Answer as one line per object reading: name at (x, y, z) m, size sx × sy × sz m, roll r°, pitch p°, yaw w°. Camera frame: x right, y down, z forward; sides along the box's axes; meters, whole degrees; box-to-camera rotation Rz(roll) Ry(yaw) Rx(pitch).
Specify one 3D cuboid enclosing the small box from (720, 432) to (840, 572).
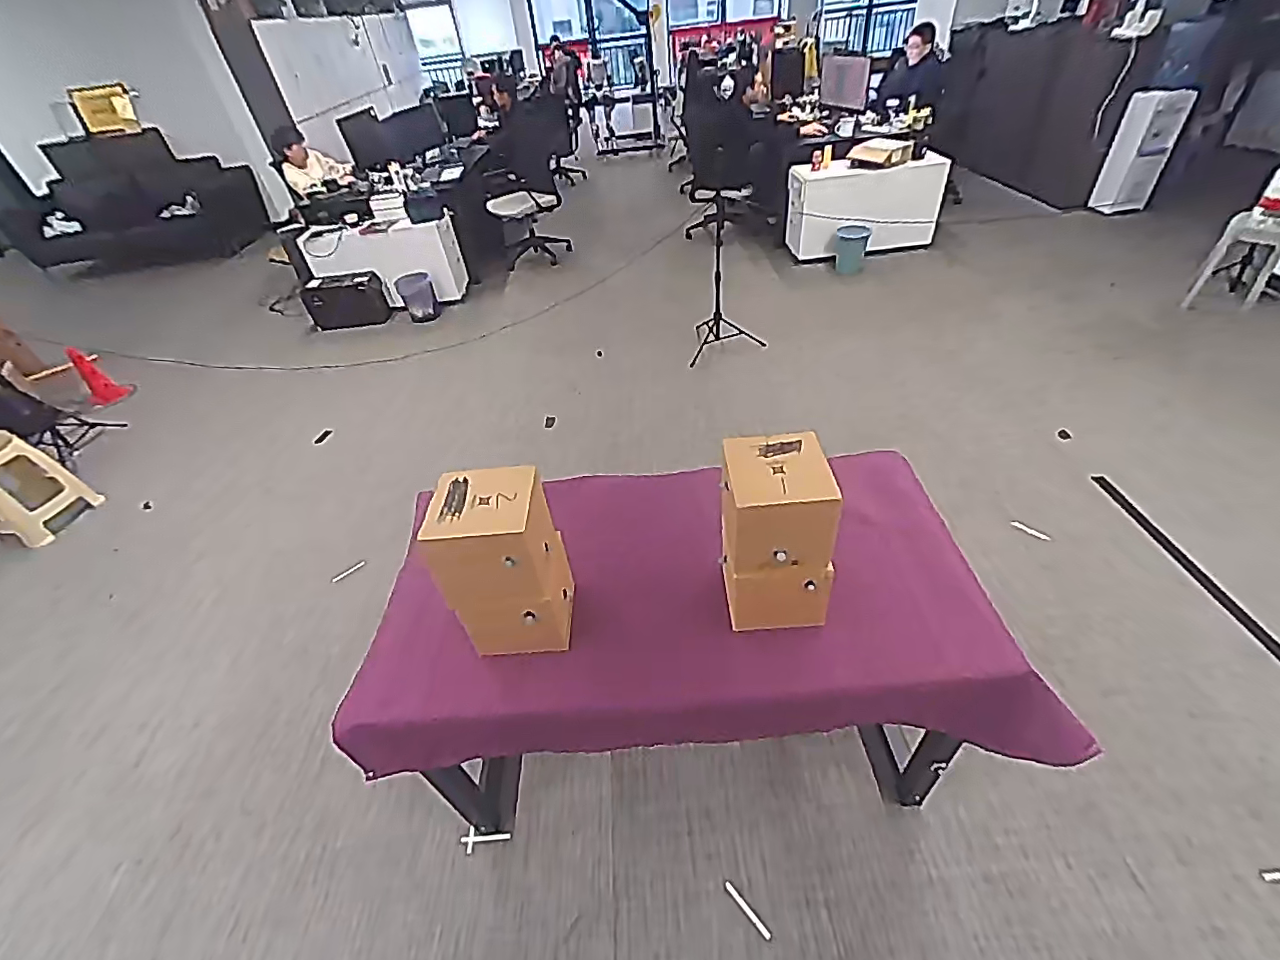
small box at (0.231, 0.038, 0.943) m, size 0.168 × 0.176 × 0.179 m, roll -5°, pitch 42°, yaw 3°

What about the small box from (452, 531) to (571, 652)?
small box at (-0.237, 0.219, 1.054) m, size 0.179 × 0.176 × 0.168 m, roll -4°, pitch 41°, yaw 3°

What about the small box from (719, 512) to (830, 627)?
small box at (0.249, 0.168, 1.042) m, size 0.179 × 0.176 × 0.168 m, roll -5°, pitch 41°, yaw 3°
